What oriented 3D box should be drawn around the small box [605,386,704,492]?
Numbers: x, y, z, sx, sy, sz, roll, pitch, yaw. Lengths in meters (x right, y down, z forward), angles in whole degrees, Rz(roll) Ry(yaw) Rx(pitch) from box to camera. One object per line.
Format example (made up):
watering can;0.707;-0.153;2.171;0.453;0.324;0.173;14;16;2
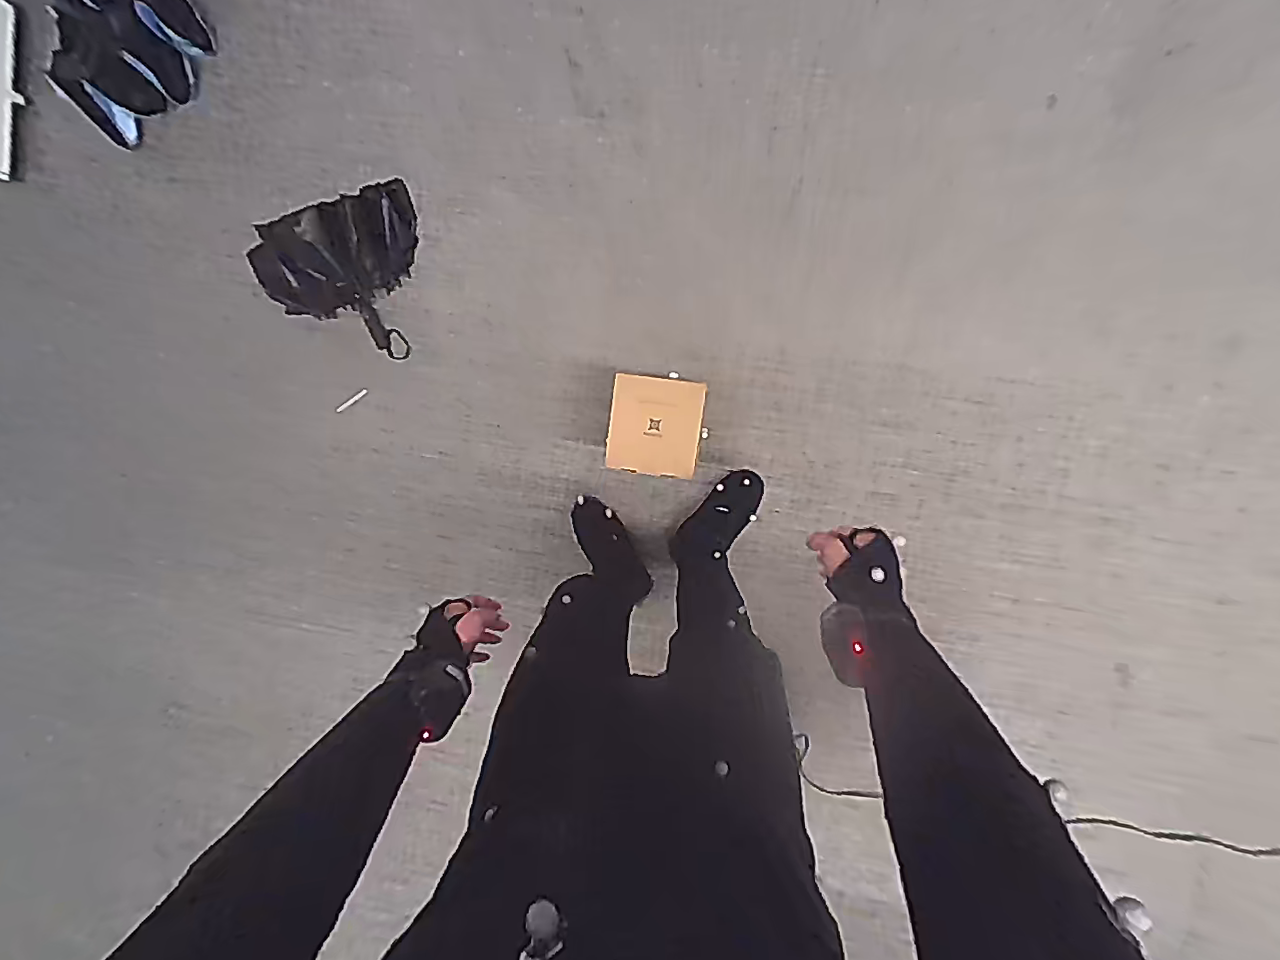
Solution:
small box;0.035;-0.084;1.058;0.168;0.176;0.179;7;98;5
